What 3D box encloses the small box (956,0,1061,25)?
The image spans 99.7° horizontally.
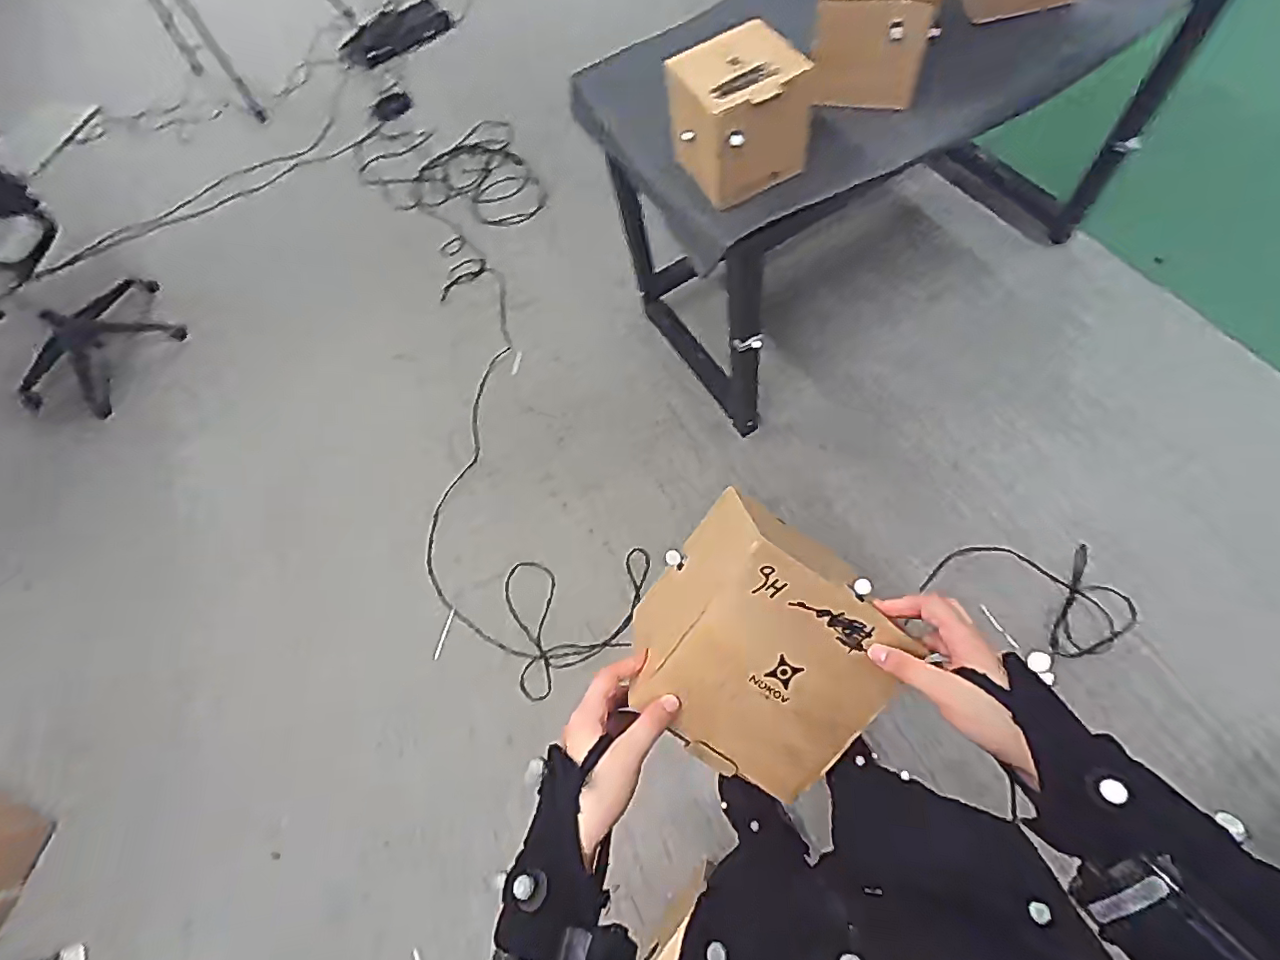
[{"bbox_3d":[0.683,-0.960,0.957,0.179,0.176,0.168,-5,66,10],"label":"small box"}]

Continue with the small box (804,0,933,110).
[{"bbox_3d":[0.396,-0.773,0.931,0.179,0.176,0.168,15,70,17],"label":"small box"}]

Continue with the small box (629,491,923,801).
[{"bbox_3d":[0.109,0.138,0.503,0.168,0.176,0.179,34,103,-6],"label":"small box"}]

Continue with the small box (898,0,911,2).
[{"bbox_3d":[0.386,-0.839,0.782,0.179,0.176,0.168,27,73,21],"label":"small box"}]
